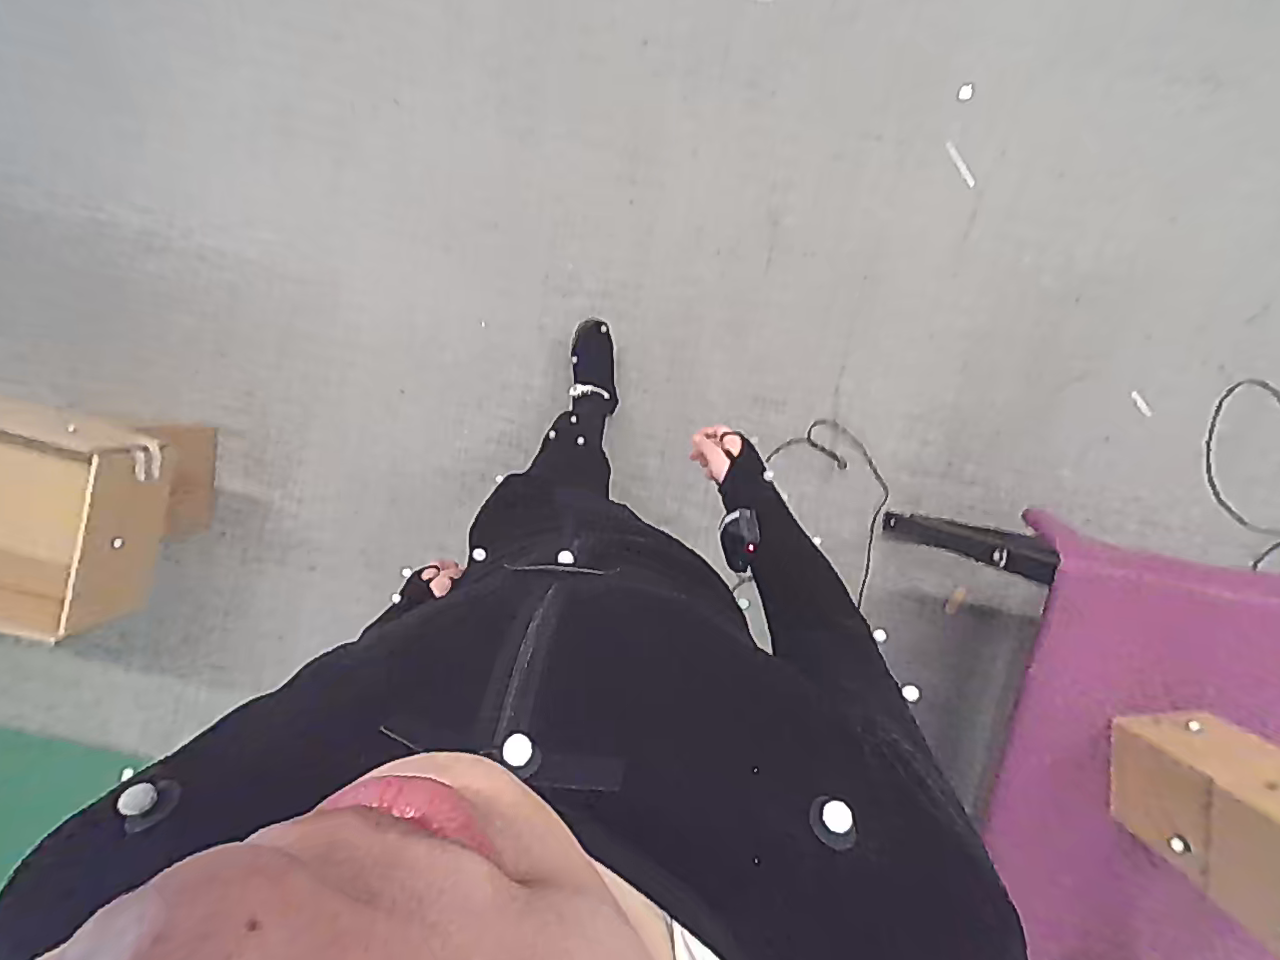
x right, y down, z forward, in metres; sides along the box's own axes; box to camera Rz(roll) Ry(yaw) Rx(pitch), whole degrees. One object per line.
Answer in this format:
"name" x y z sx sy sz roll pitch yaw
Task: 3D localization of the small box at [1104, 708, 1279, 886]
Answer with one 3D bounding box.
"small box" 0.876 0.485 0.847 0.168 0.176 0.179 -3 94 -2
